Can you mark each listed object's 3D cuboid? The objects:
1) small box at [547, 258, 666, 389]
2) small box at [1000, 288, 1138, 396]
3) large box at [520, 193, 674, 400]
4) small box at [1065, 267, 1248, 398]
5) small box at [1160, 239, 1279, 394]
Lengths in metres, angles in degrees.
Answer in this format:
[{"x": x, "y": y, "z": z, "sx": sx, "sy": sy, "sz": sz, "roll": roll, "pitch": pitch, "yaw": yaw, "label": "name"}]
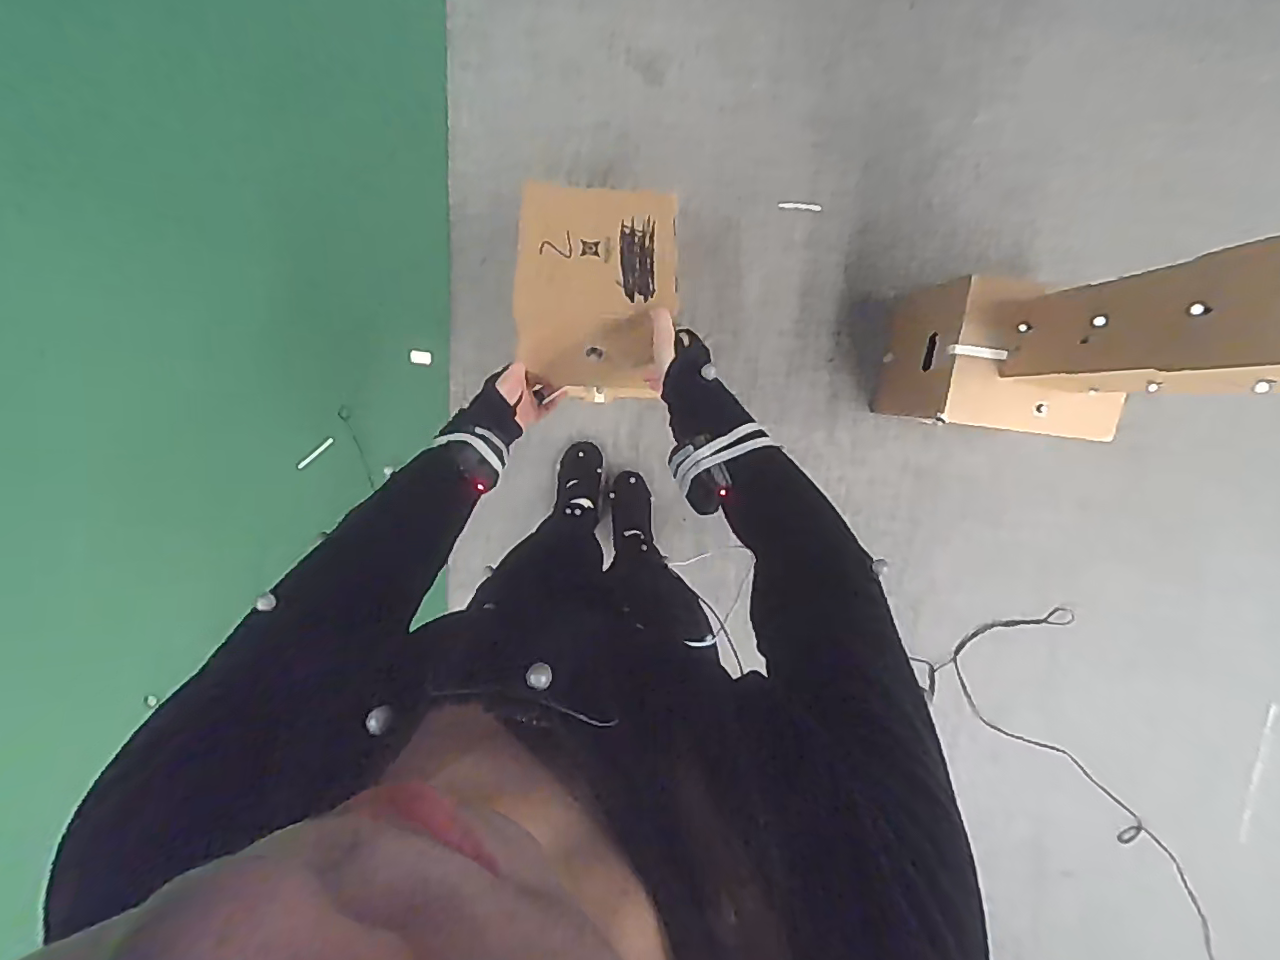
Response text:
[{"x": -0.053, "y": -0.237, "z": 0.859, "sx": 0.168, "sy": 0.176, "sz": 0.179, "roll": 3, "pitch": 98, "yaw": -4, "label": "small box"}, {"x": 0.868, "y": -0.264, "z": 1.068, "sx": 0.179, "sy": 0.176, "sz": 0.168, "roll": 11, "pitch": 97, "yaw": -4, "label": "small box"}, {"x": -0.091, "y": -0.390, "z": 1.246, "sx": 0.320, "sy": 0.320, "sz": 0.408, "roll": 1, "pitch": 99, "yaw": -3, "label": "large box"}, {"x": 0.879, "y": -0.237, "z": 0.906, "sx": 0.179, "sy": 0.176, "sz": 0.168, "roll": 12, "pitch": 97, "yaw": -4, "label": "small box"}, {"x": 0.886, "y": -0.217, "z": 0.744, "sx": 0.168, "sy": 0.176, "sz": 0.179, "roll": 11, "pitch": 97, "yaw": -5, "label": "small box"}]
